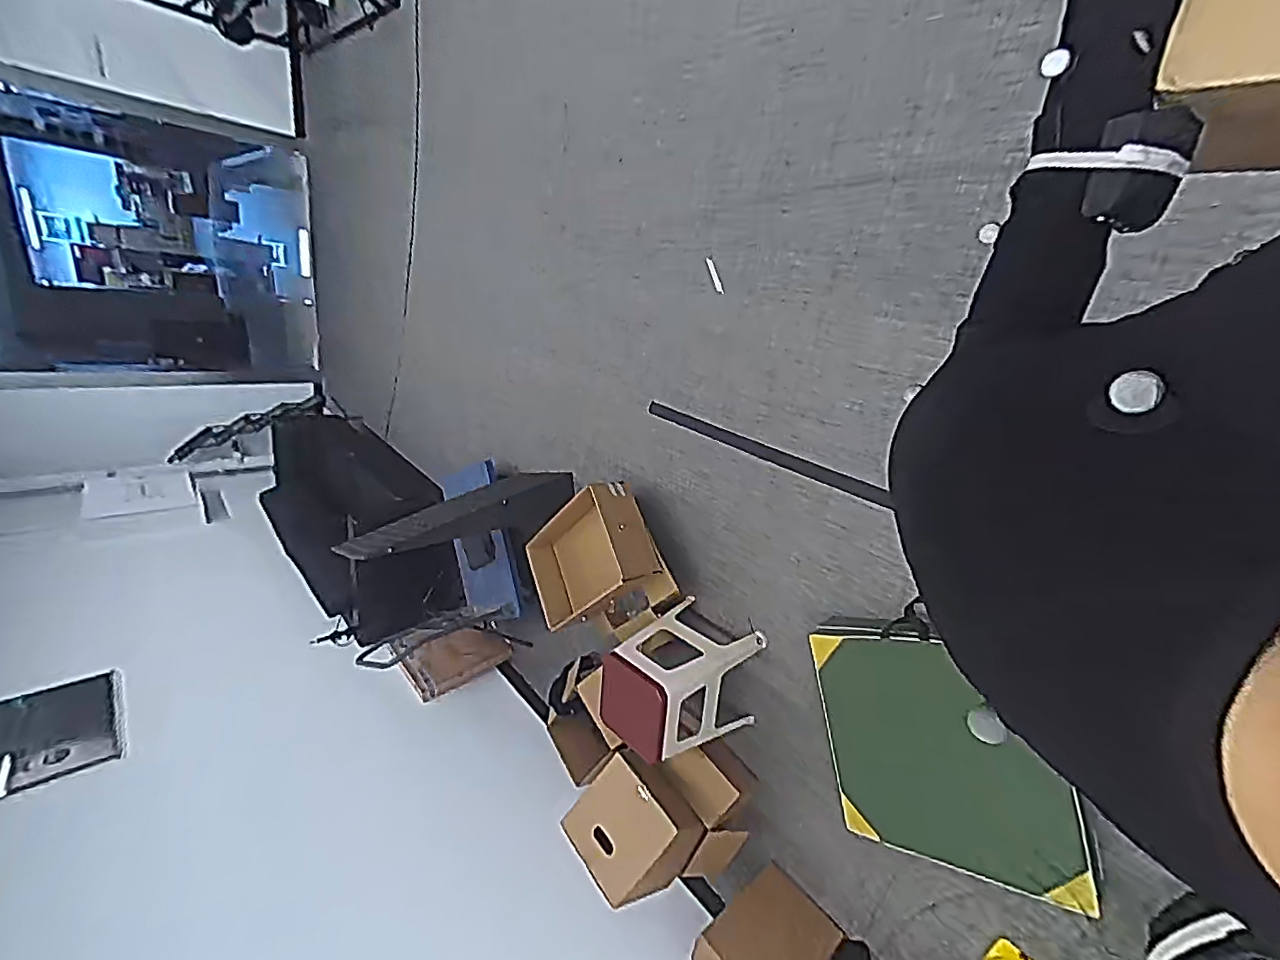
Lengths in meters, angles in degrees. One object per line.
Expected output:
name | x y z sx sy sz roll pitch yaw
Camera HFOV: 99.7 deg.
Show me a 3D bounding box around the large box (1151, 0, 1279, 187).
large box | 0.590 -0.361 0.284 0.408 0.320 0.320 23 118 40
